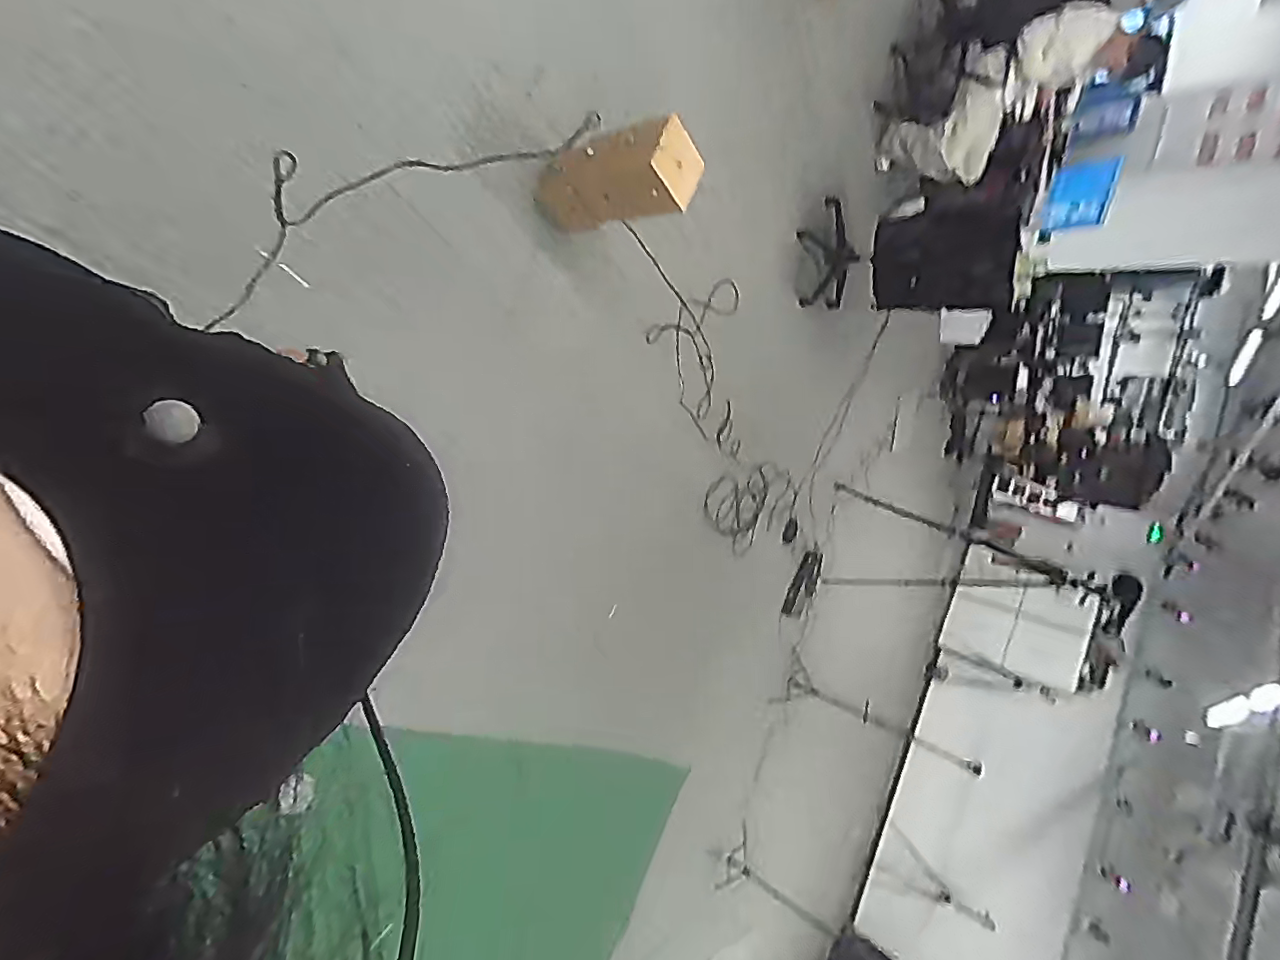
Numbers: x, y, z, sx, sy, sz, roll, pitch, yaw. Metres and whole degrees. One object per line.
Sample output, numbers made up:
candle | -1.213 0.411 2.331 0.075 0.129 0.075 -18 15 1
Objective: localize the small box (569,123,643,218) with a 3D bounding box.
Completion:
small box | -0.073 -0.903 1.597 0.179 0.176 0.168 34 75 -48

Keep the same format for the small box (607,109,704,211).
small box | 0.042 -0.868 1.488 0.179 0.176 0.168 32 77 -48

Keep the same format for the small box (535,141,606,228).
small box | -0.199 -0.917 1.702 0.179 0.176 0.168 29 80 -50
